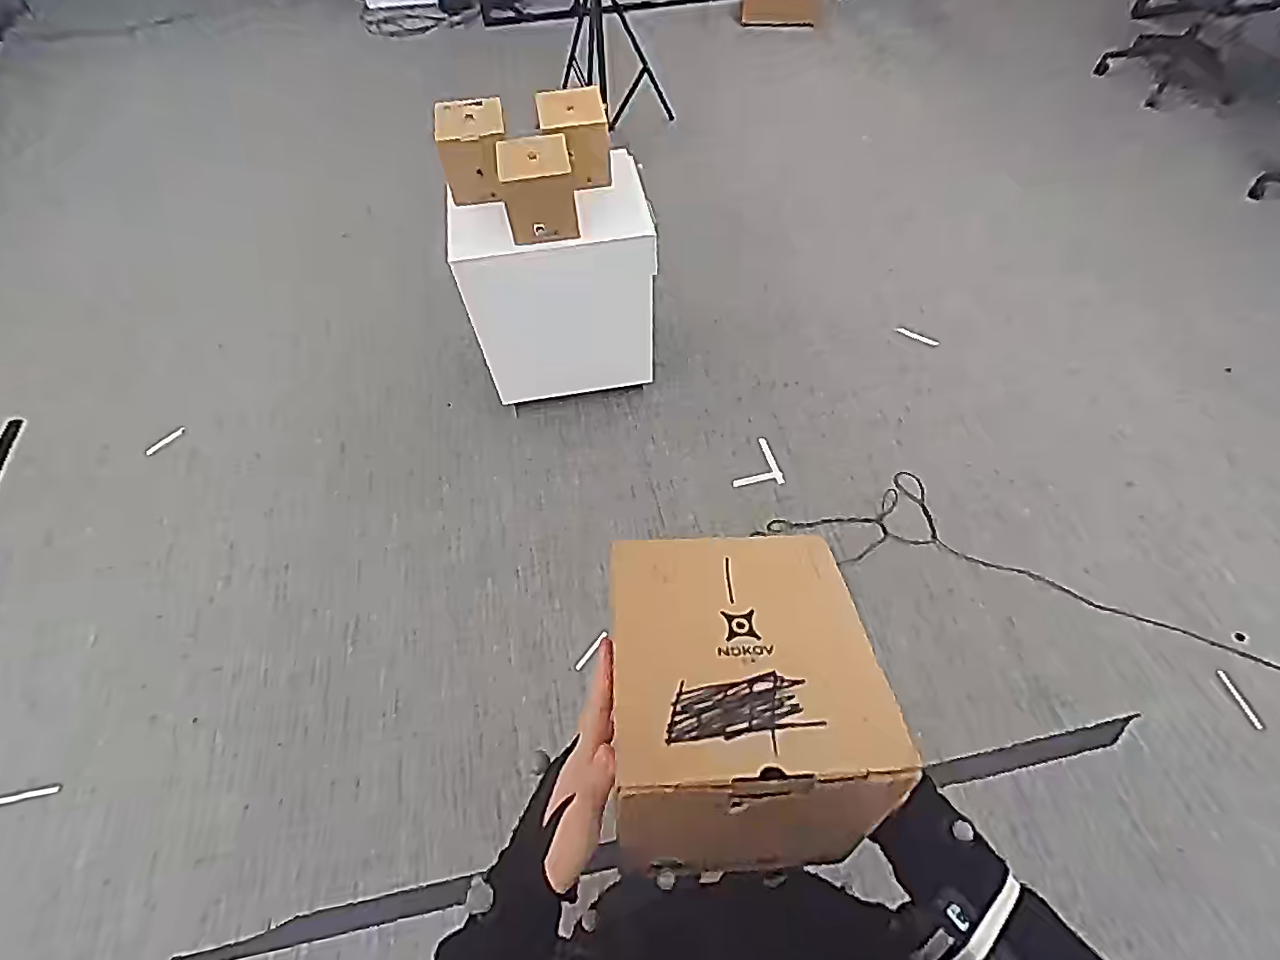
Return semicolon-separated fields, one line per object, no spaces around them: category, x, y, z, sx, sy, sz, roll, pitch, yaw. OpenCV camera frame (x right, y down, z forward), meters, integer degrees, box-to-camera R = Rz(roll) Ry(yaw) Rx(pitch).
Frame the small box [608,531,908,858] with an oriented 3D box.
small box;0.061;0.160;0.403;0.168;0.176;0.179;-1;40;-3

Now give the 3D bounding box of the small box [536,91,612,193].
small box;-0.170;-0.880;1.423;0.168;0.176;0.179;-10;60;-4

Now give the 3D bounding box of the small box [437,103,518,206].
small box;-0.416;-0.835;1.400;0.168;0.176;0.179;-9;61;-5
